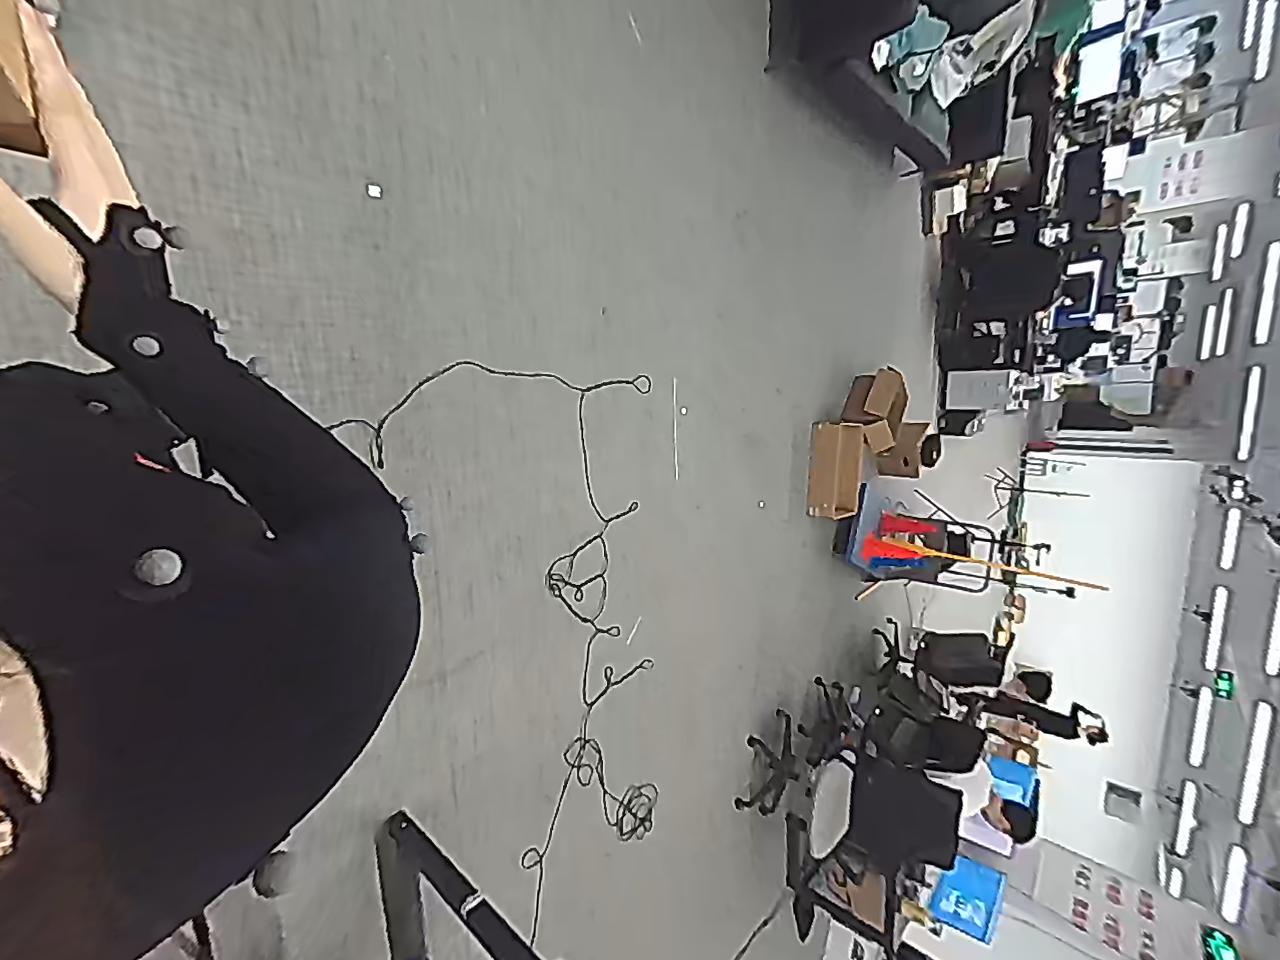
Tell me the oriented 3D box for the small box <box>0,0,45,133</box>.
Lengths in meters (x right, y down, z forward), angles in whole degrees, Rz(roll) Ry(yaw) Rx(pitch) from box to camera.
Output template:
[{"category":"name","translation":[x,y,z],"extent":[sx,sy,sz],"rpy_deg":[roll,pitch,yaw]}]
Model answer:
[{"category":"small box","translation":[-0.385,-0.274,0.213],"extent":[0.179,0.176,0.168],"rpy_deg":[-5,100,-41]}]
